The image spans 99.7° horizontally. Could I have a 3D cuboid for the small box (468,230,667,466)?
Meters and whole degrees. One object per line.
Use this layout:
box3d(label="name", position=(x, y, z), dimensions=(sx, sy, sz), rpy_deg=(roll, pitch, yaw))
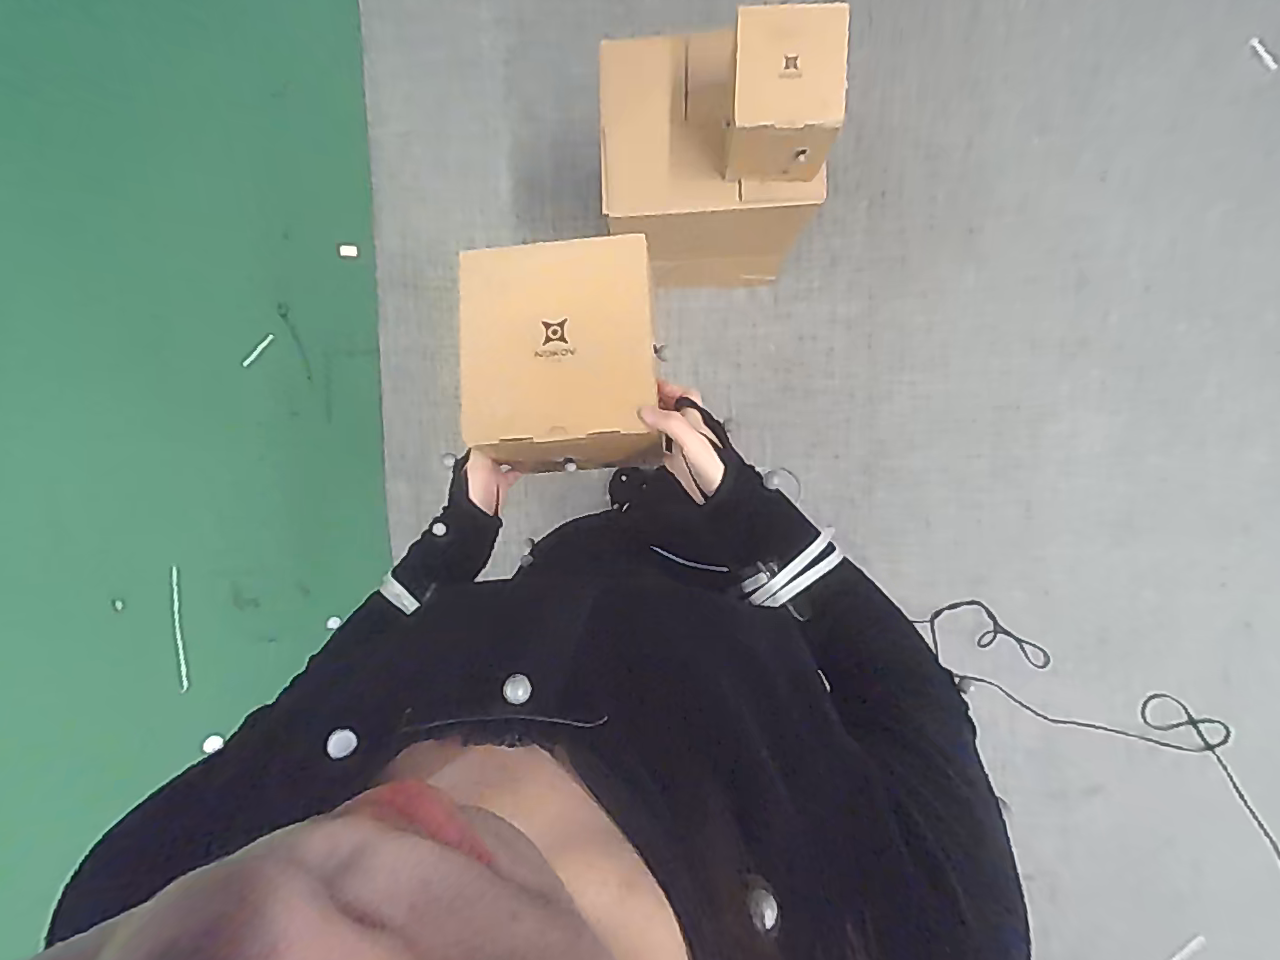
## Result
box3d(label="small box", position=(-0.061, -0.116, 0.539), dimensions=(0.168, 0.176, 0.179), rpy_deg=(-4, 83, 4))

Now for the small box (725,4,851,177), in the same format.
box3d(label="small box", position=(0.232, -0.621, 0.884), dimensions=(0.168, 0.176, 0.179), rpy_deg=(2, 93, 3))
